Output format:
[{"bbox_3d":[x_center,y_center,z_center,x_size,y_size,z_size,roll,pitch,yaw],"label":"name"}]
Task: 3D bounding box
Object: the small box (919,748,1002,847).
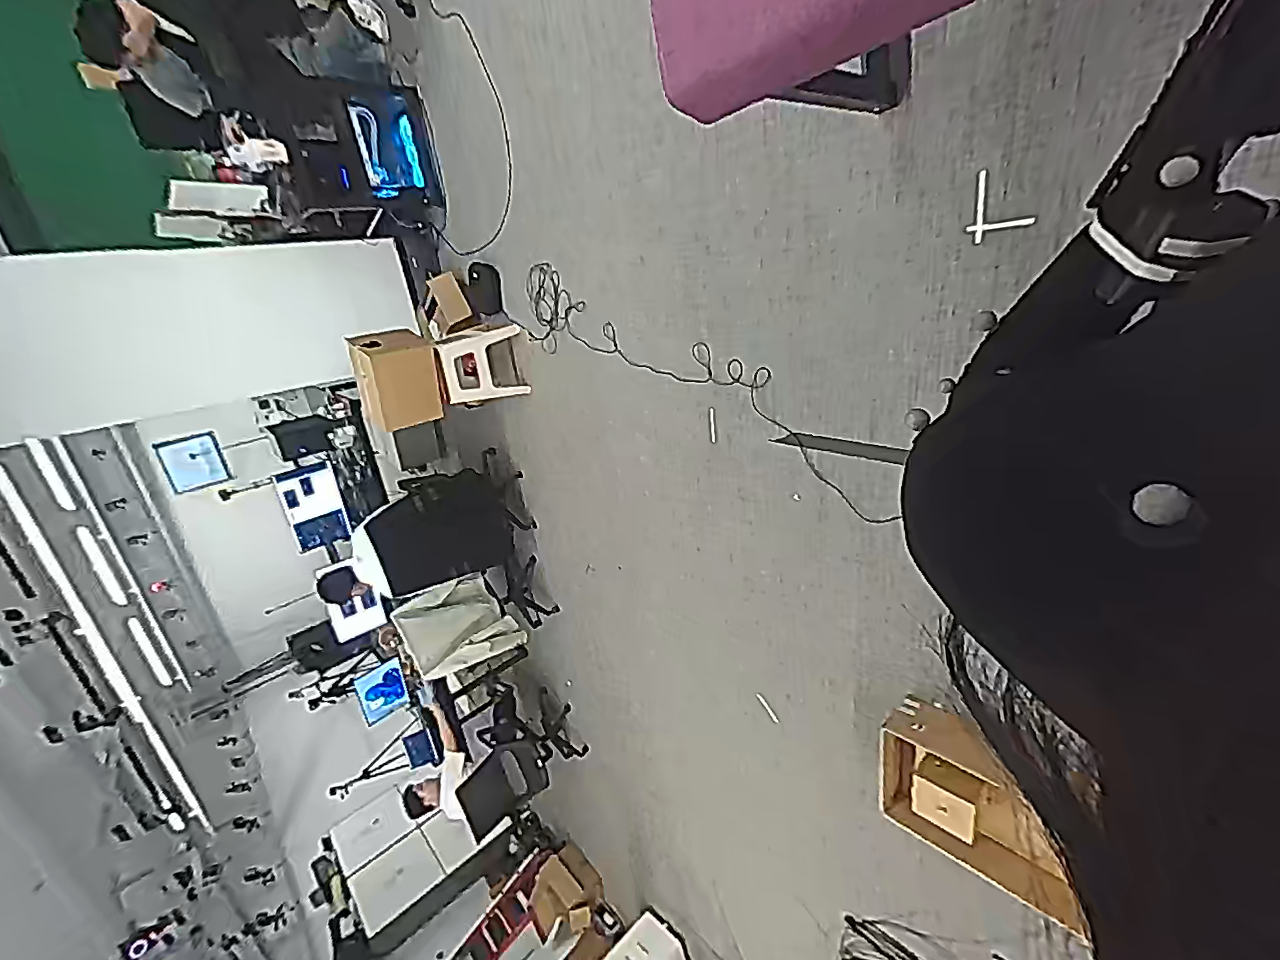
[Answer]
[{"bbox_3d":[0.992,0.970,1.676,0.179,0.176,0.168,13,119,46],"label":"small box"}]
